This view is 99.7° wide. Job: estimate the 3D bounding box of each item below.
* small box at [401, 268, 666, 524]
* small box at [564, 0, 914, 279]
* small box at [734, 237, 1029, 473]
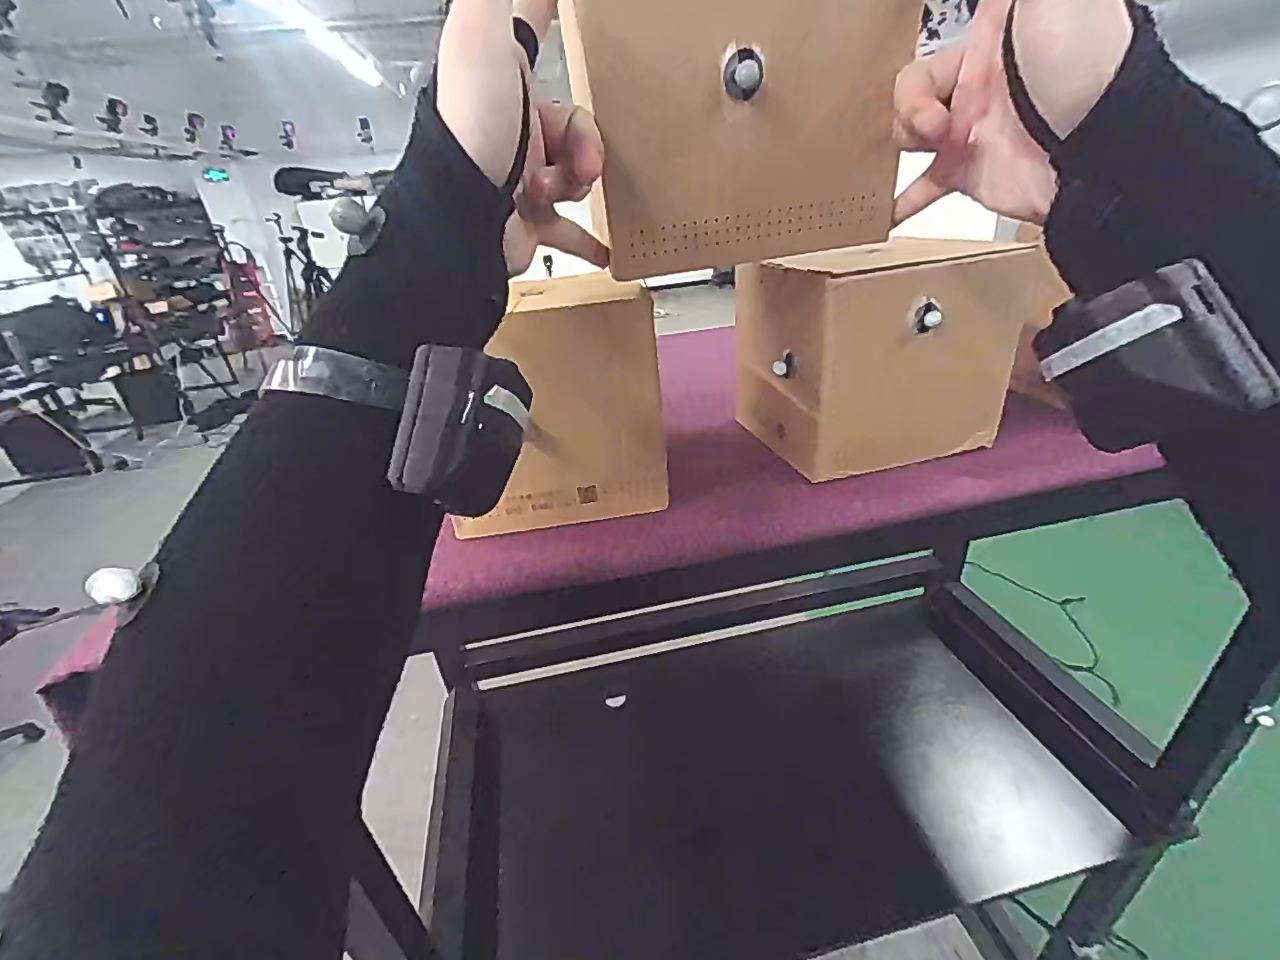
[{"bbox_3d":[-0.076,-0.074,0.458,0.168,0.176,0.179,-9,27,-5],"label":"small box"},{"bbox_3d":[0.050,-0.245,0.350,0.179,0.176,0.168,-10,35,-3],"label":"small box"},{"bbox_3d":[0.198,-0.119,0.491,0.179,0.176,0.168,-11,28,-10],"label":"small box"}]
